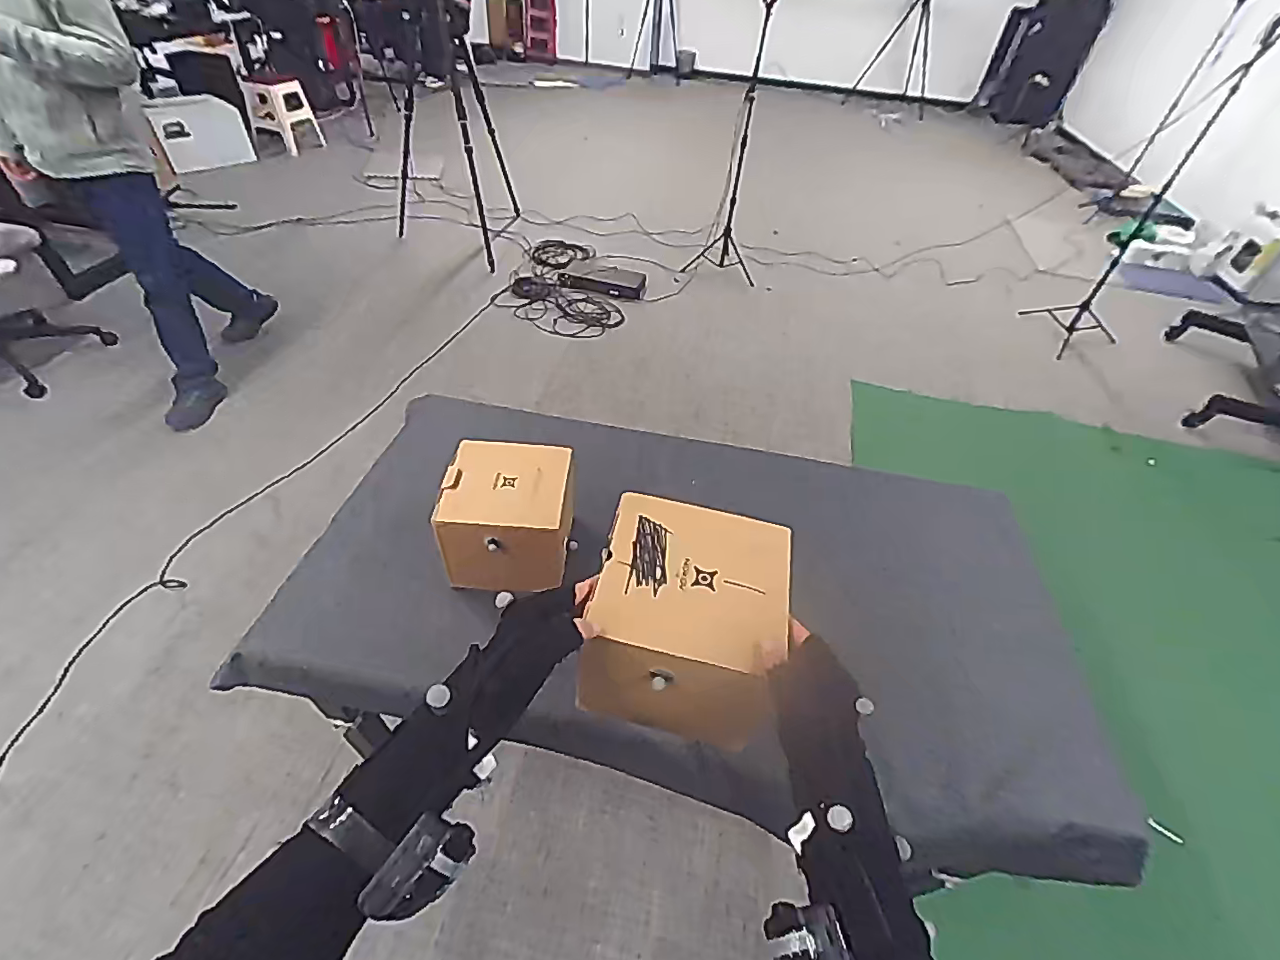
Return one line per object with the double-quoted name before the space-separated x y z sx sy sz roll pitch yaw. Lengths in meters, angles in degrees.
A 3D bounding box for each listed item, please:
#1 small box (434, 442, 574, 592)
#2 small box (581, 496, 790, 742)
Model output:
"small box" -0.200 0.061 0.851 0.179 0.176 0.168 5 47 -3
"small box" 0.043 0.146 0.556 0.179 0.176 0.168 13 47 4
